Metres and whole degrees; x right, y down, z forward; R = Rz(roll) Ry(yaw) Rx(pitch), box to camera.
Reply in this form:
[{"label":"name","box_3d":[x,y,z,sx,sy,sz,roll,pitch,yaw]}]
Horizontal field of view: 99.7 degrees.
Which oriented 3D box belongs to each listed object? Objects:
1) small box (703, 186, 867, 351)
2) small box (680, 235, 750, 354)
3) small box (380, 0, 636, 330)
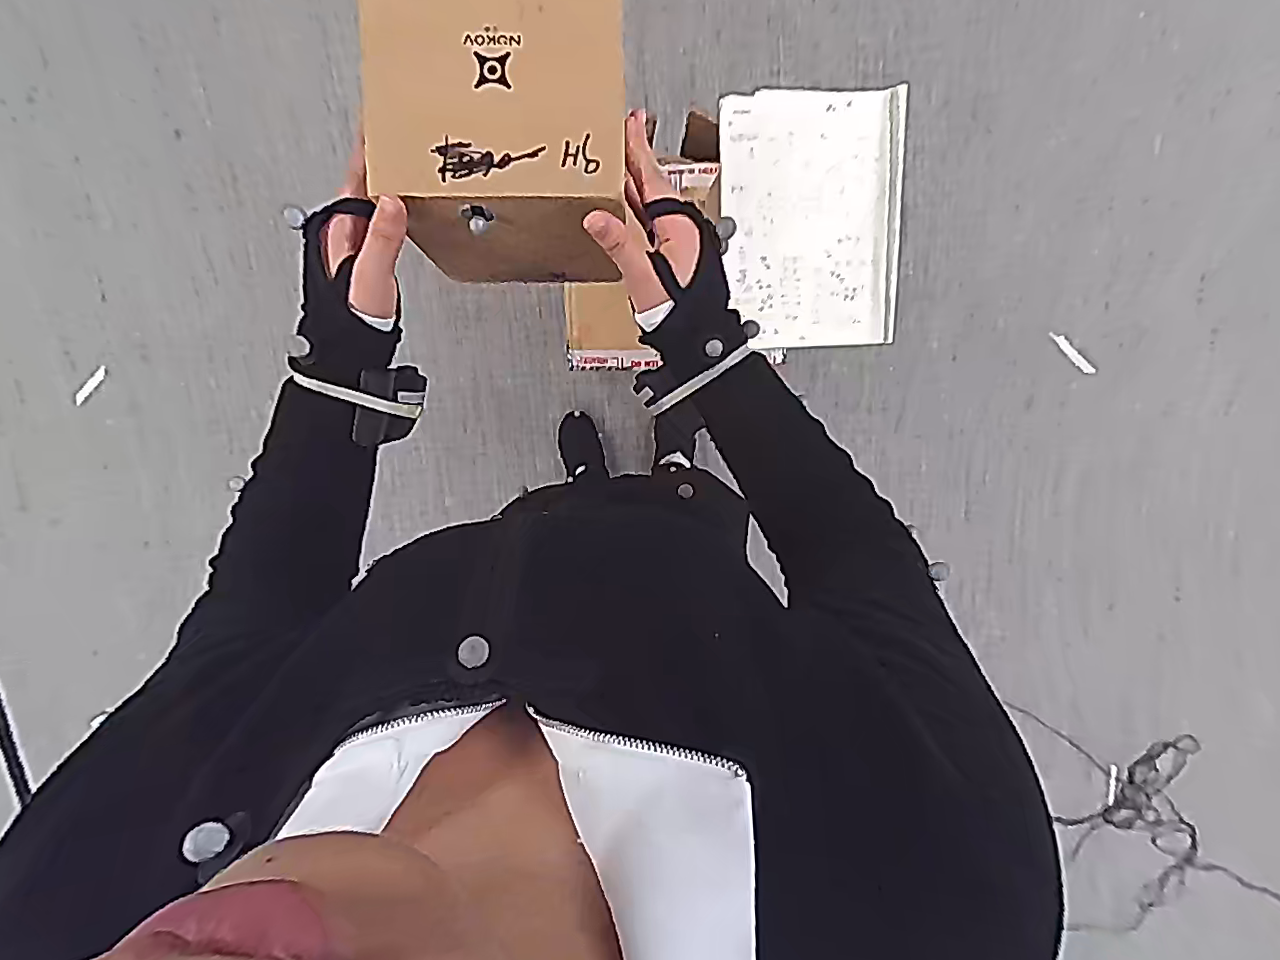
[{"label":"small box","box_3d":[0.177,-0.263,0.708,0.168,0.176,0.179,-3,102,-3]},{"label":"small box","box_3d":[0.165,-0.294,0.869,0.179,0.176,0.168,-6,101,-1]},{"label":"small box","box_3d":[-0.089,-0.231,0.430,0.168,0.176,0.179,-1,90,-2]}]
